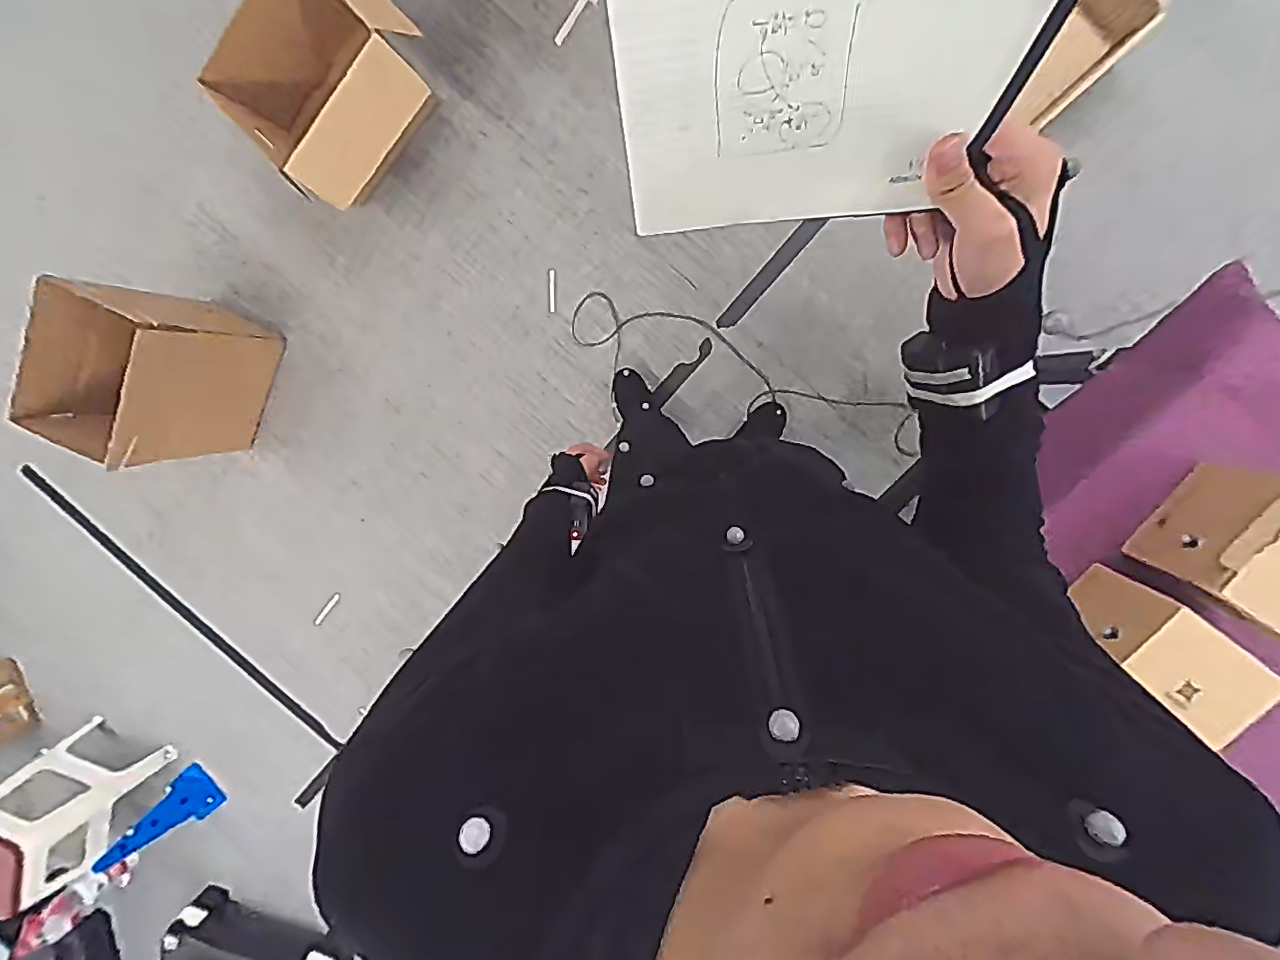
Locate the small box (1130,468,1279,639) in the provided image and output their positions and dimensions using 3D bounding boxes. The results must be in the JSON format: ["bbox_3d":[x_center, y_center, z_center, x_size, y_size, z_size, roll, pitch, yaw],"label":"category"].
[{"bbox_3d":[0.819,0.098,0.706,0.179,0.176,0.168,34,104,1],"label":"small box"}]
